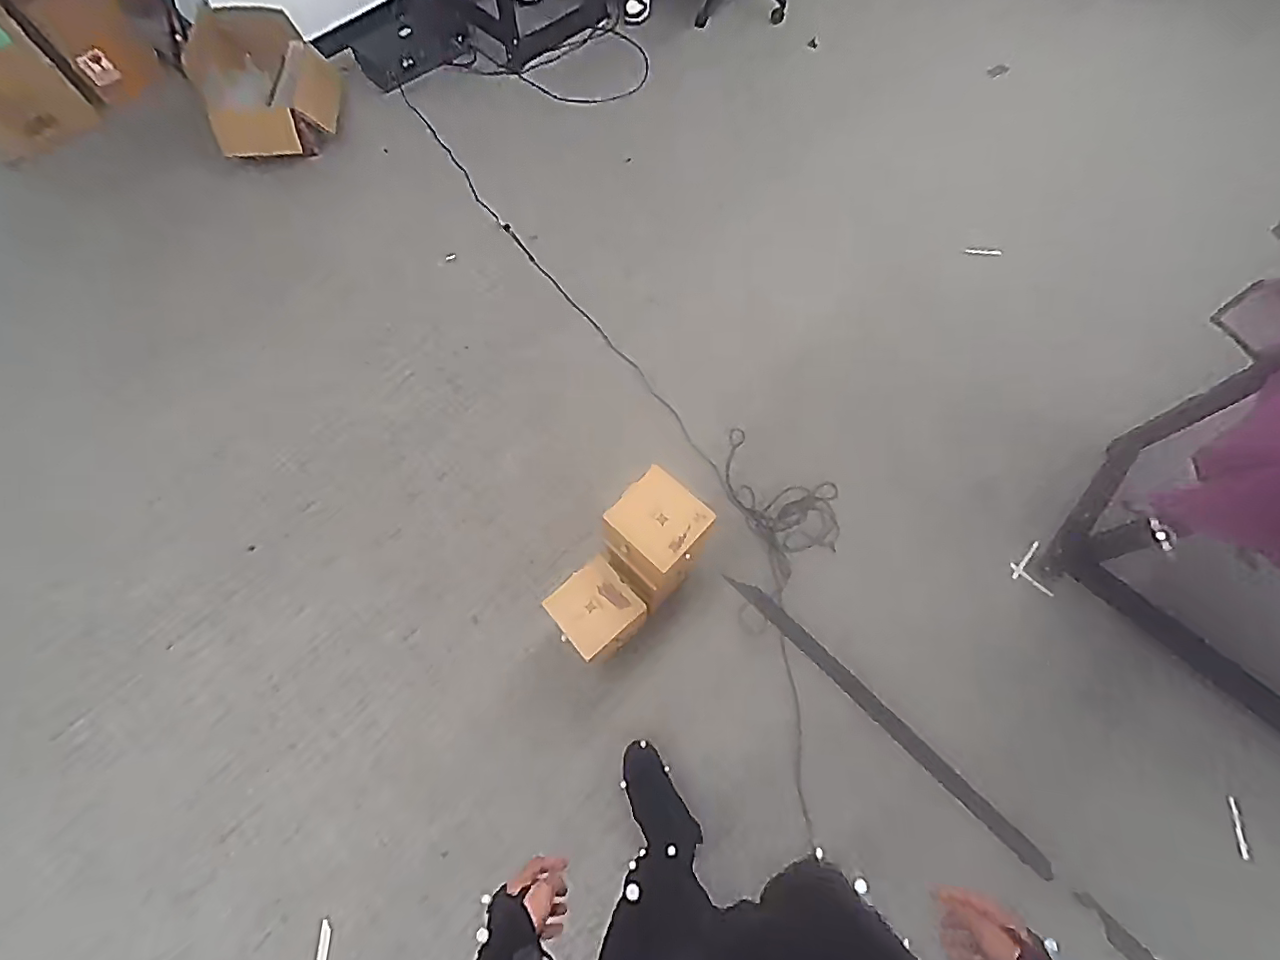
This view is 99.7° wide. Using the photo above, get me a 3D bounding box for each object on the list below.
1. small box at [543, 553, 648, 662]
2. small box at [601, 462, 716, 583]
[{"bbox_3d":[-0.099,0.301,1.258,0.179,0.176,0.168,-40,73,-13],"label":"small box"},{"bbox_3d":[0.039,0.099,1.160,0.179,0.176,0.168,40,75,16],"label":"small box"}]
